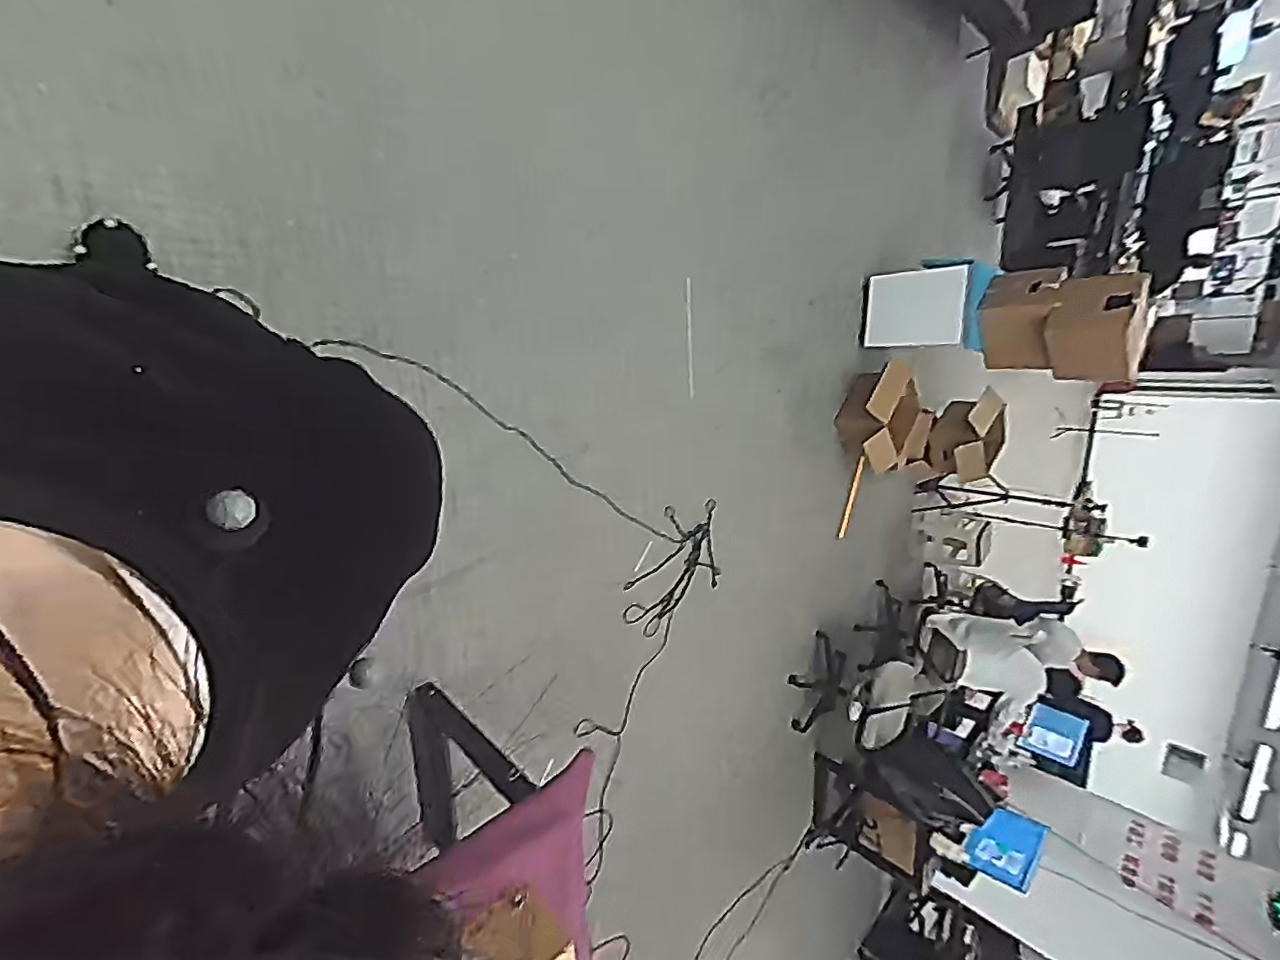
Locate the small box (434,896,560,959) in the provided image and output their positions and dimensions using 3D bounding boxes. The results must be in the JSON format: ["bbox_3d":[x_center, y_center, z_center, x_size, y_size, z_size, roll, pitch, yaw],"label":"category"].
[{"bbox_3d":[-0.255,0.903,0.971,0.168,0.176,0.179,-13,109,-41],"label":"small box"}]
